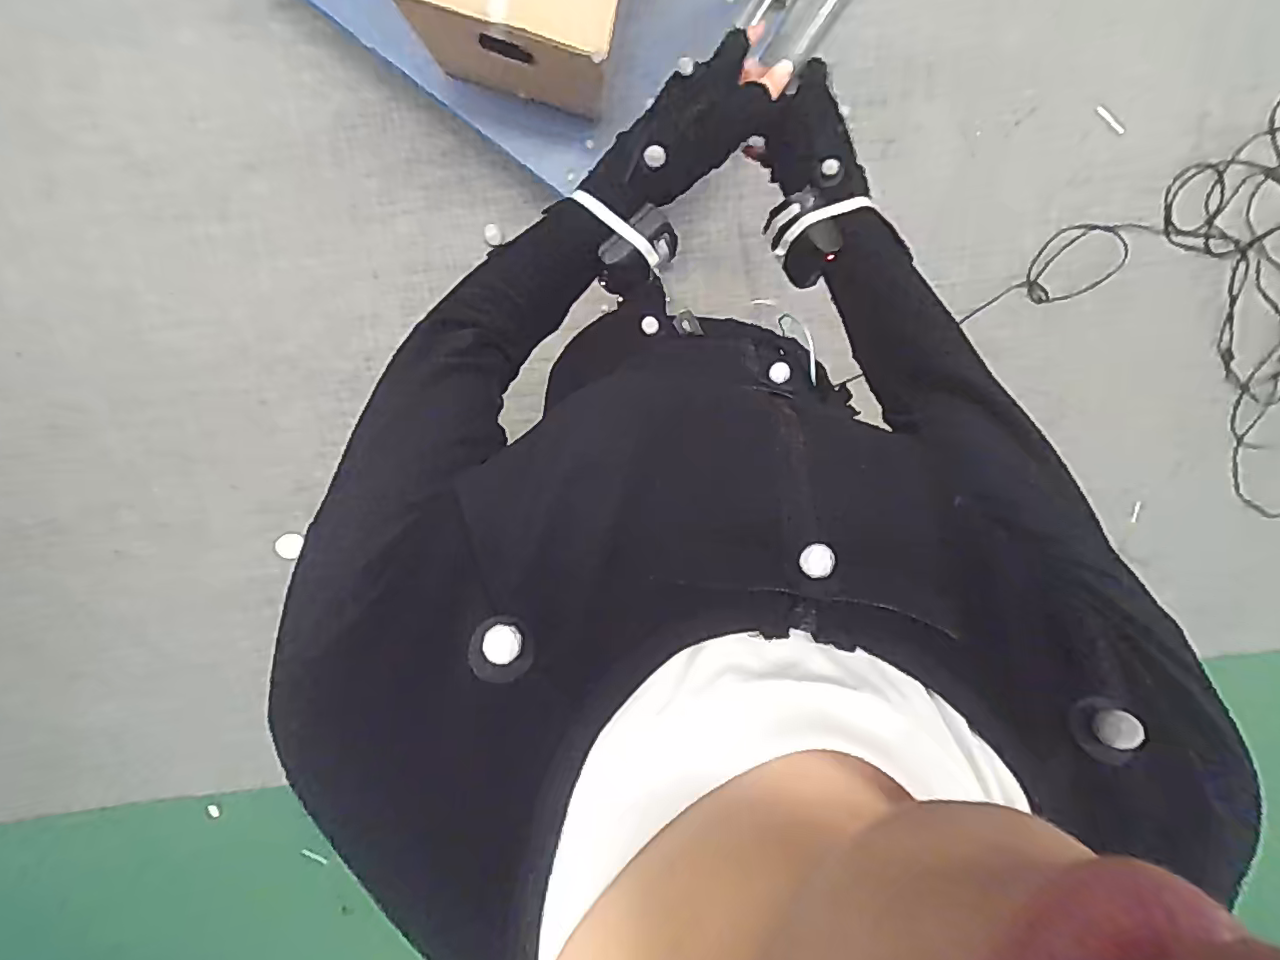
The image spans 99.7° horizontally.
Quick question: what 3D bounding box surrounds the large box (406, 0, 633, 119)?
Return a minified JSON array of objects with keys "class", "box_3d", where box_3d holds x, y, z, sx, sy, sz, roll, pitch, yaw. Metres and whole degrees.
[{"class":"large box","box_3d":[-0.151,-0.871,0.849,0.320,0.320,0.408,11,109,-7]}]
